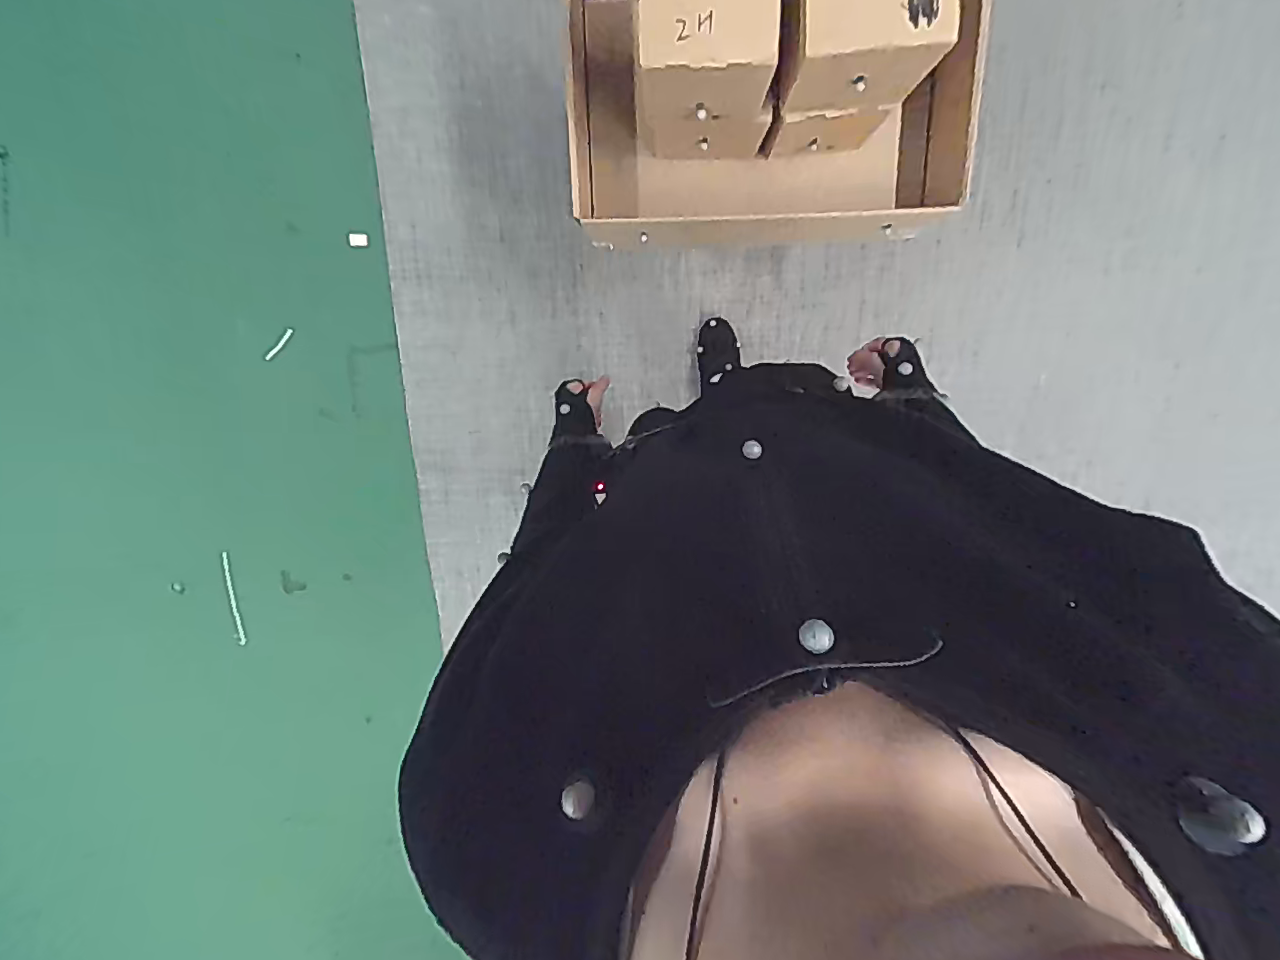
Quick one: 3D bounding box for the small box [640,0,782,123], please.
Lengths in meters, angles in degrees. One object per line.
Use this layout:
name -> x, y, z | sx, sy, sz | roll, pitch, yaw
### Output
small box -> 0.086, -0.594, 0.696 | 0.168, 0.176, 0.179 | 1, 103, 3
